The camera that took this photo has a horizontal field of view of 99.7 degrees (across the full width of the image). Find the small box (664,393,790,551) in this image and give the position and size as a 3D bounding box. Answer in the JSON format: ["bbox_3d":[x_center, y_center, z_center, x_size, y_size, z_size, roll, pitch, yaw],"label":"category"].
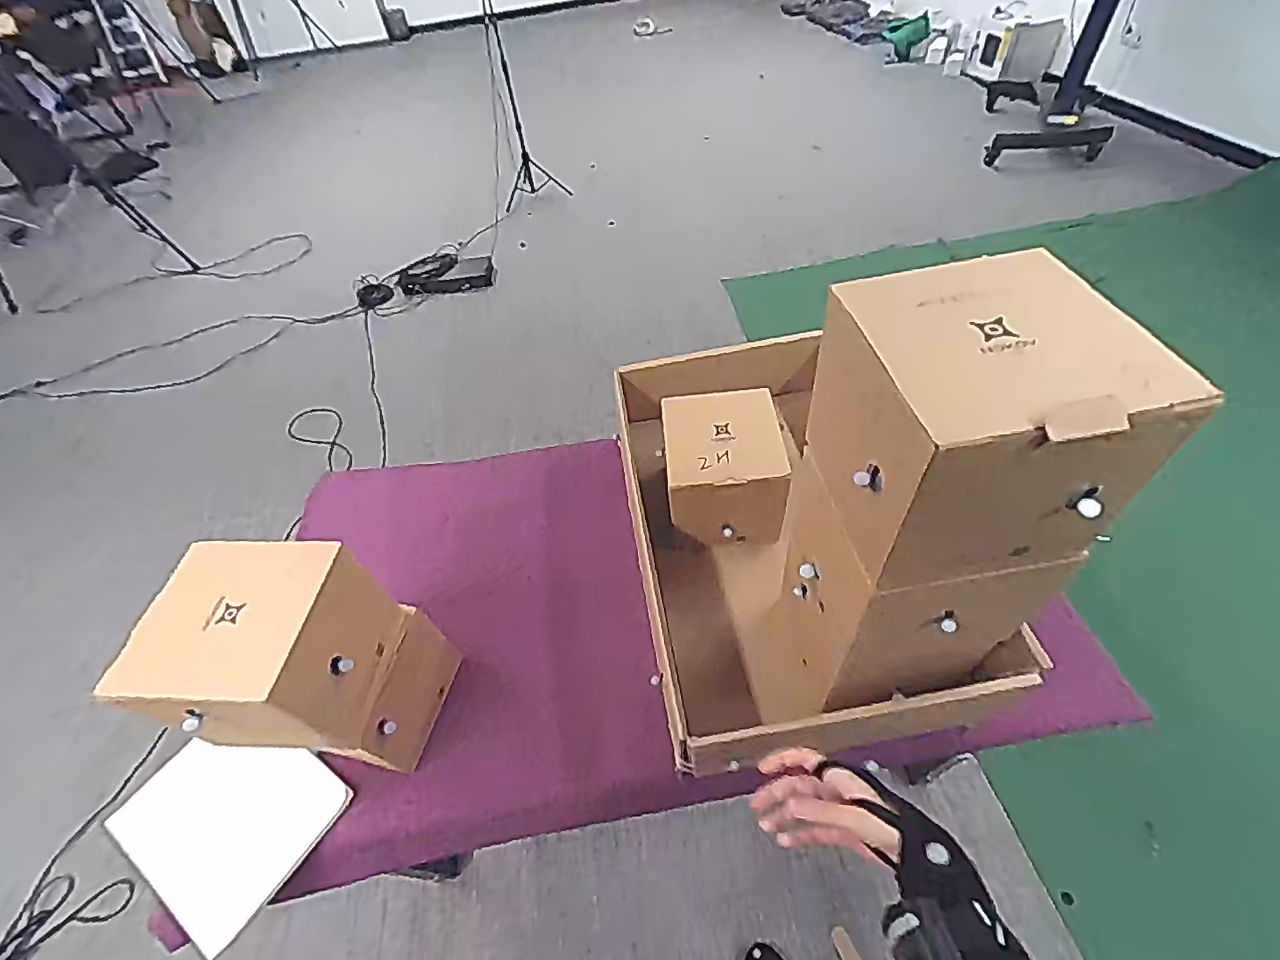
[{"bbox_3d":[0.125,-0.010,0.835,0.168,0.176,0.179,-5,51,4],"label":"small box"}]

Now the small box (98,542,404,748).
[{"bbox_3d":[-0.390,0.182,0.587,0.179,0.176,0.168,-2,50,7],"label":"small box"}]

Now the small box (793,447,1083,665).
[{"bbox_3d":[0.266,0.066,0.537,0.179,0.176,0.168,-10,49,2],"label":"small box"}]

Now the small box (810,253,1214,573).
[{"bbox_3d":[0.243,-0.043,0.417,0.168,0.176,0.179,-9,49,1],"label":"small box"}]
